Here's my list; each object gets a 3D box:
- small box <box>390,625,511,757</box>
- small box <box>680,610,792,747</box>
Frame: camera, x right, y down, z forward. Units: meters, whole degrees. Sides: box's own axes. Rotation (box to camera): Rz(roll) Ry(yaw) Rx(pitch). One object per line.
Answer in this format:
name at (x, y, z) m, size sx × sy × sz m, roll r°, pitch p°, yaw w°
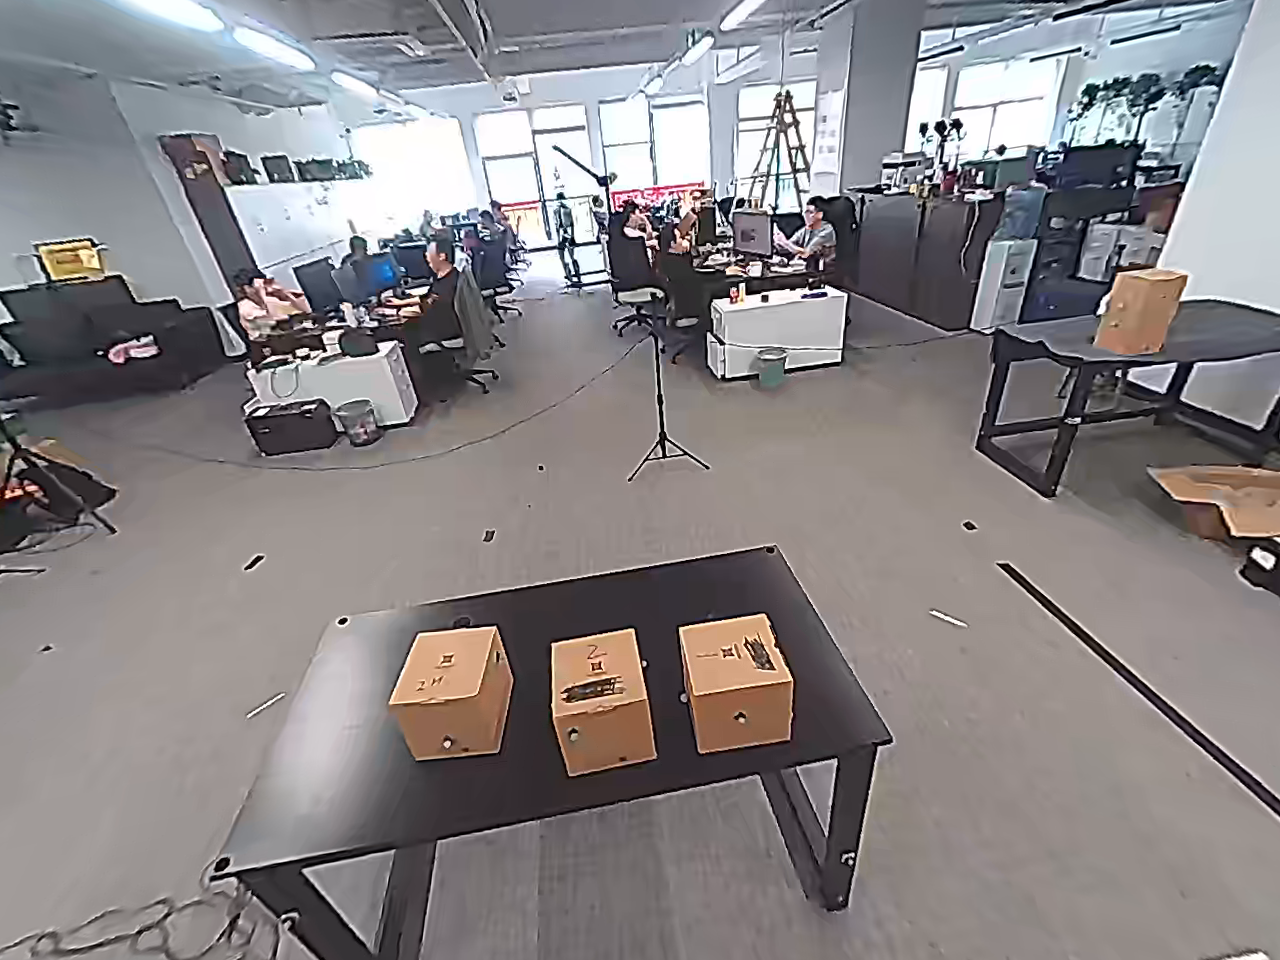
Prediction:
small box at (-0.363, 0.416, 1.076) m, size 0.168 × 0.176 × 0.179 m, roll -6°, pitch 31°, yaw 1°
small box at (0.178, 0.378, 1.031) m, size 0.179 × 0.176 × 0.168 m, roll -9°, pitch 30°, yaw -1°
